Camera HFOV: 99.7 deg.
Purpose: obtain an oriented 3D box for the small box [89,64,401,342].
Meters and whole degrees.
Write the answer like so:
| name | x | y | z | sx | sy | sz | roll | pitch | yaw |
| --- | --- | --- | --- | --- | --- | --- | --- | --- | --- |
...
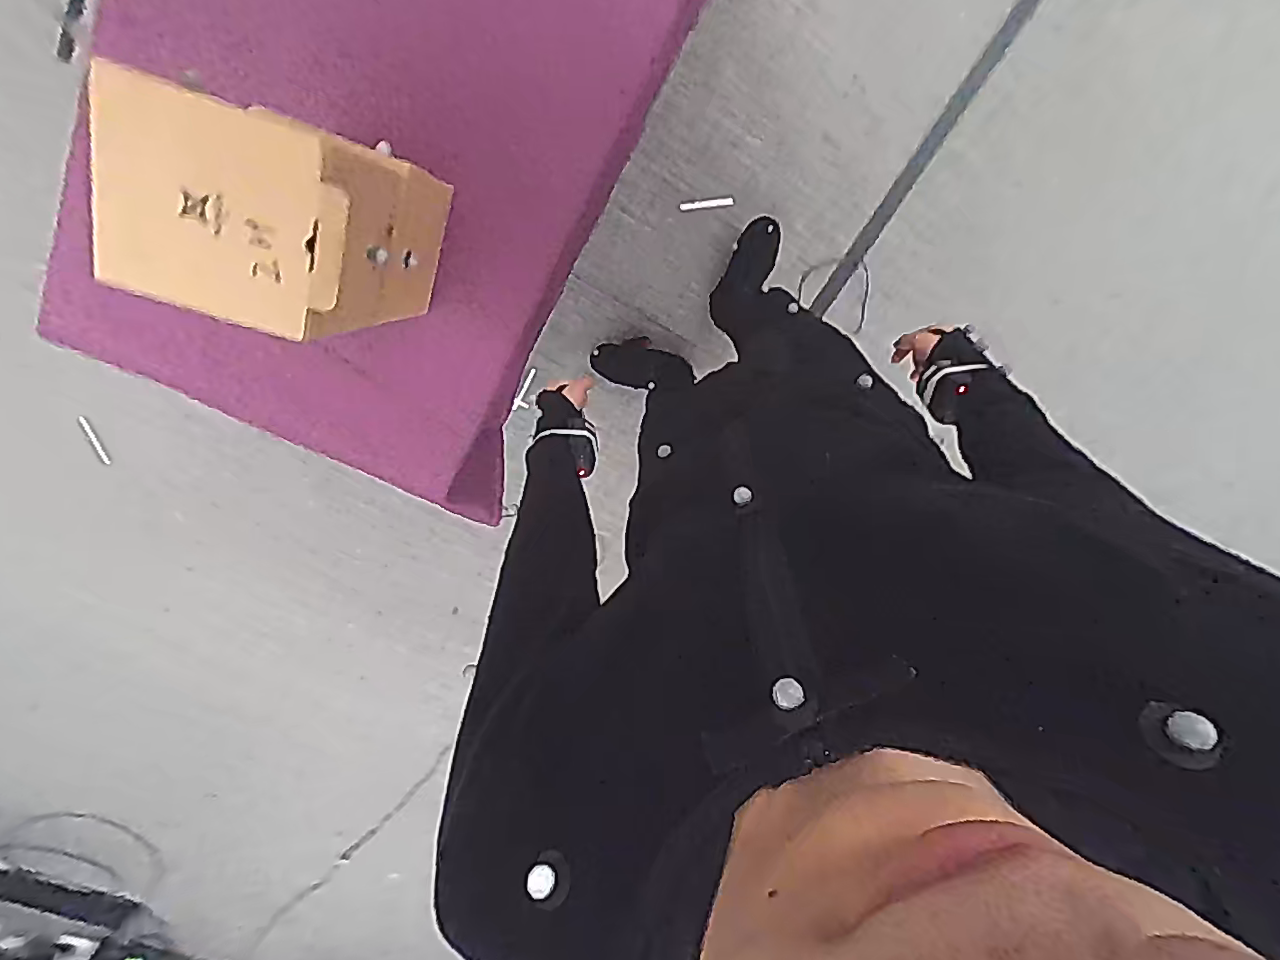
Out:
| name | x | y | z | sx | sy | sz | roll | pitch | yaw |
| --- | --- | --- | --- | --- | --- | --- | --- | --- | --- |
| small box | -0.357 | -0.245 | 0.516 | 0.179 | 0.176 | 0.168 | 16 | 110 | -9 |

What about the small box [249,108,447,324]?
| name | x | y | z | sx | sy | sz | roll | pitch | yaw |
| --- | --- | --- | --- | --- | --- | --- | --- | --- | --- |
| small box | -0.355 | -0.310 | 0.668 | 0.168 | 0.176 | 0.179 | 17 | 109 | -9 |
